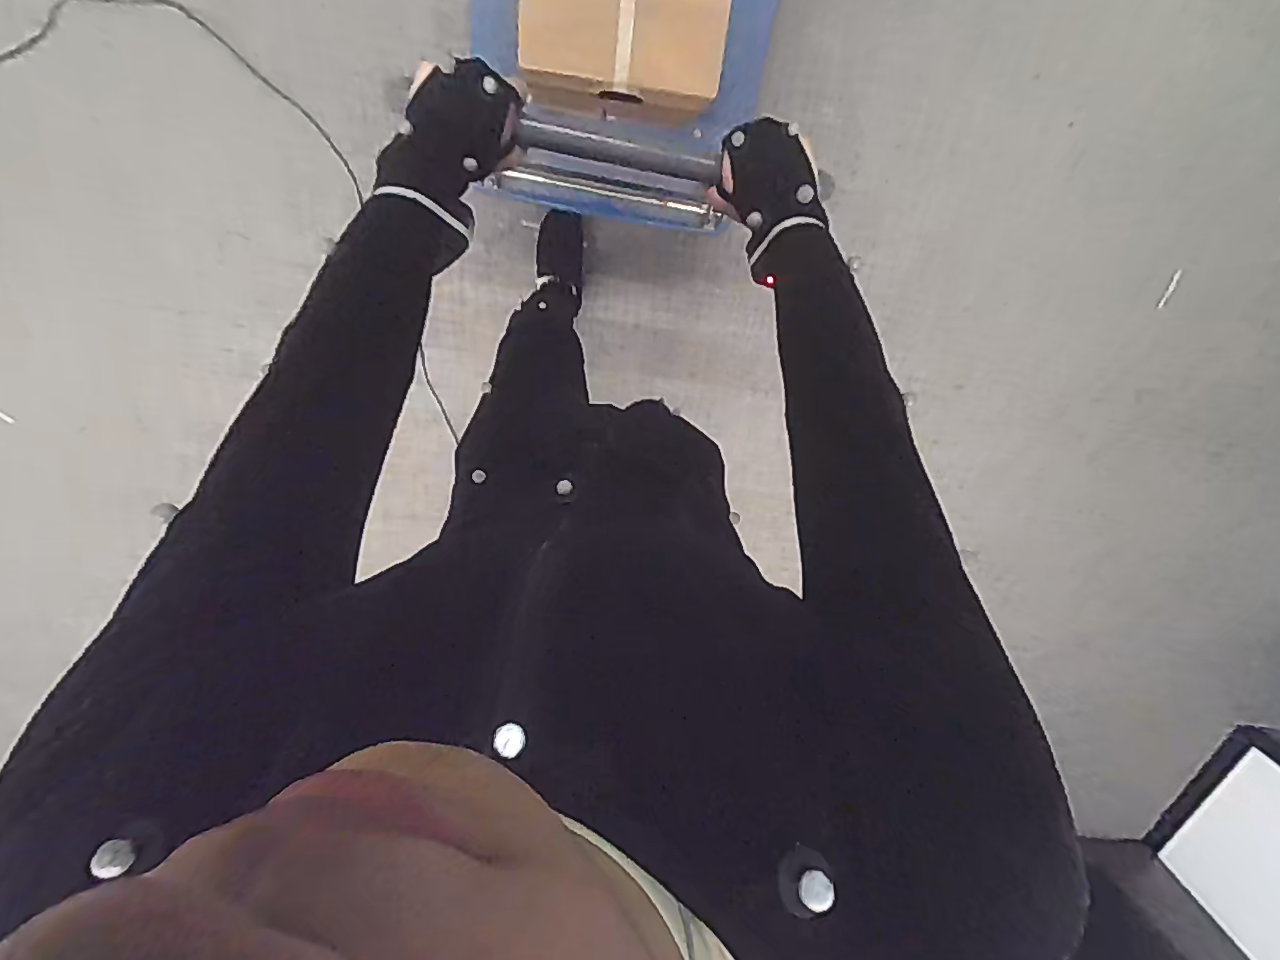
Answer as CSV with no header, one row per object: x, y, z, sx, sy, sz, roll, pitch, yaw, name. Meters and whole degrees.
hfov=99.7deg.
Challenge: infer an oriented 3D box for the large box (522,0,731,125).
-0.016,-0.864,0.901,0.320,0.320,0.408,4,115,-6,large box
